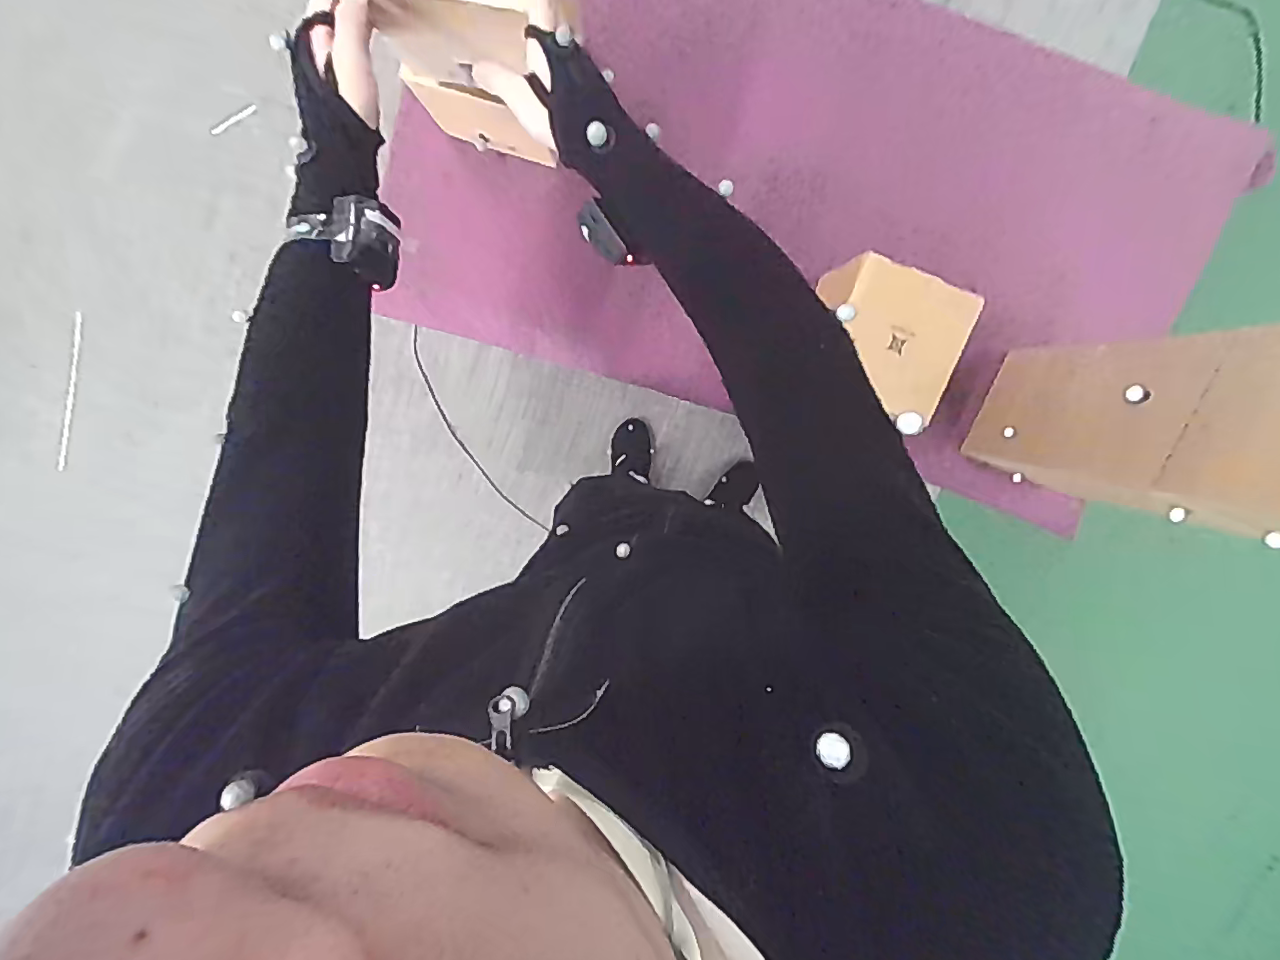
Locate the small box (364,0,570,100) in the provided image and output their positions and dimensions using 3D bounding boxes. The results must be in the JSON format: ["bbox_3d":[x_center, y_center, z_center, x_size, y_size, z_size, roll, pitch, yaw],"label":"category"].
[{"bbox_3d":[-0.158,-0.498,0.503,0.168,0.176,0.179,8,105,-2],"label":"small box"}]

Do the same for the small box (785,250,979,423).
[{"bbox_3d":[0.325,-0.194,0.770,0.168,0.176,0.179,20,98,-4],"label":"small box"}]

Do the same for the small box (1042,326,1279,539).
[{"bbox_3d":[0.627,-0.057,0.630,0.168,0.176,0.179,21,99,-3],"label":"small box"}]

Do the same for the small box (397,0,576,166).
[{"bbox_3d":[-0.184,-0.545,0.696,0.168,0.176,0.179,15,101,-3],"label":"small box"}]
